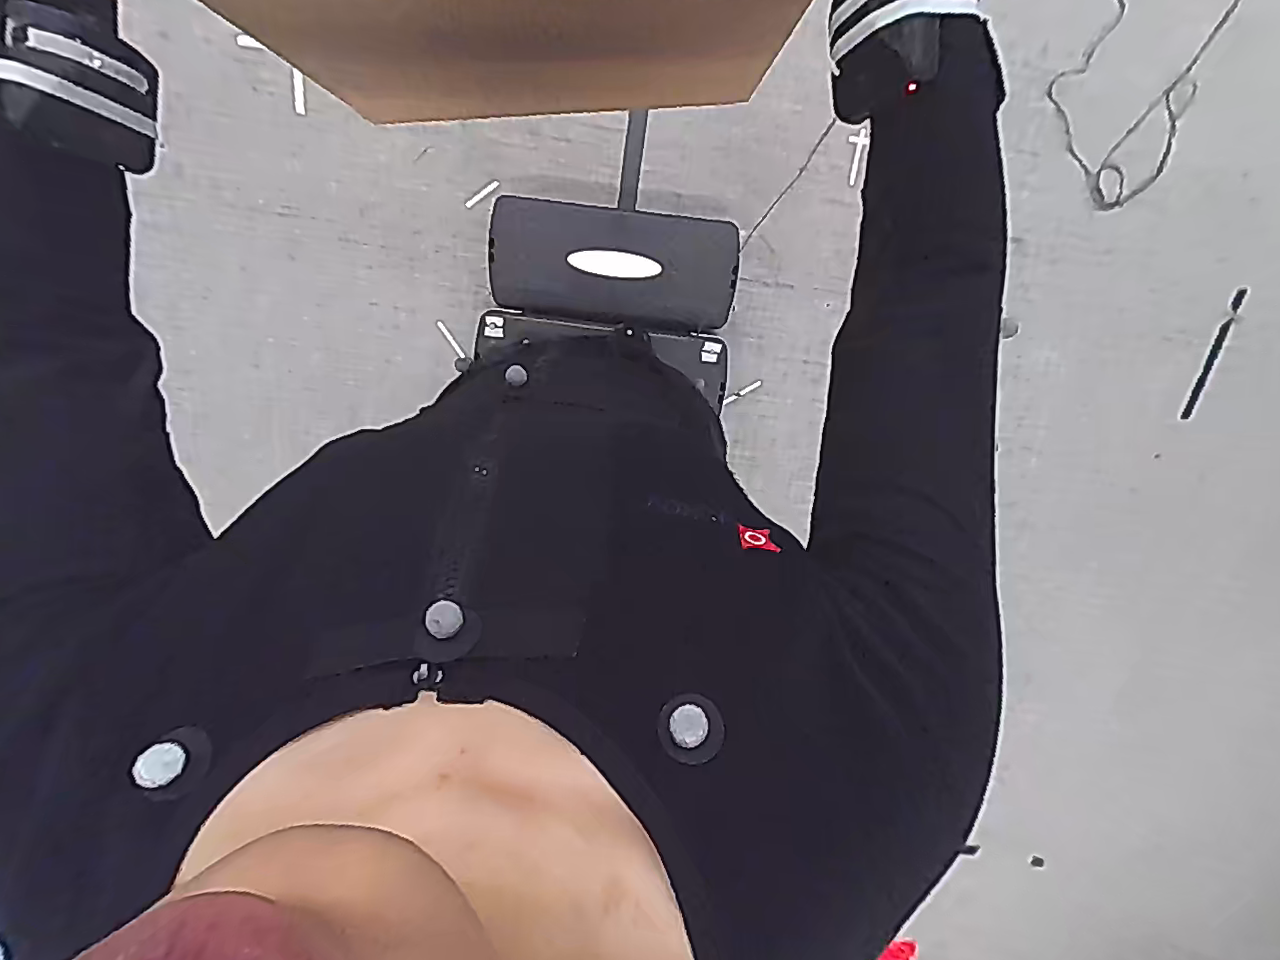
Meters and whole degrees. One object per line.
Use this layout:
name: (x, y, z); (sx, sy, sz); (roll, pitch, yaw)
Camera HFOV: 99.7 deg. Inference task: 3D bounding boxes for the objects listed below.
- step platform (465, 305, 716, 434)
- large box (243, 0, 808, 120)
step platform: (-0.131, -0.305, 1.512); (0.684, 0.204, 0.286); (6, 106, -3)
large box: (-0.080, -0.495, 0.390); (0.408, 0.320, 0.320); (-4, 109, -1)
